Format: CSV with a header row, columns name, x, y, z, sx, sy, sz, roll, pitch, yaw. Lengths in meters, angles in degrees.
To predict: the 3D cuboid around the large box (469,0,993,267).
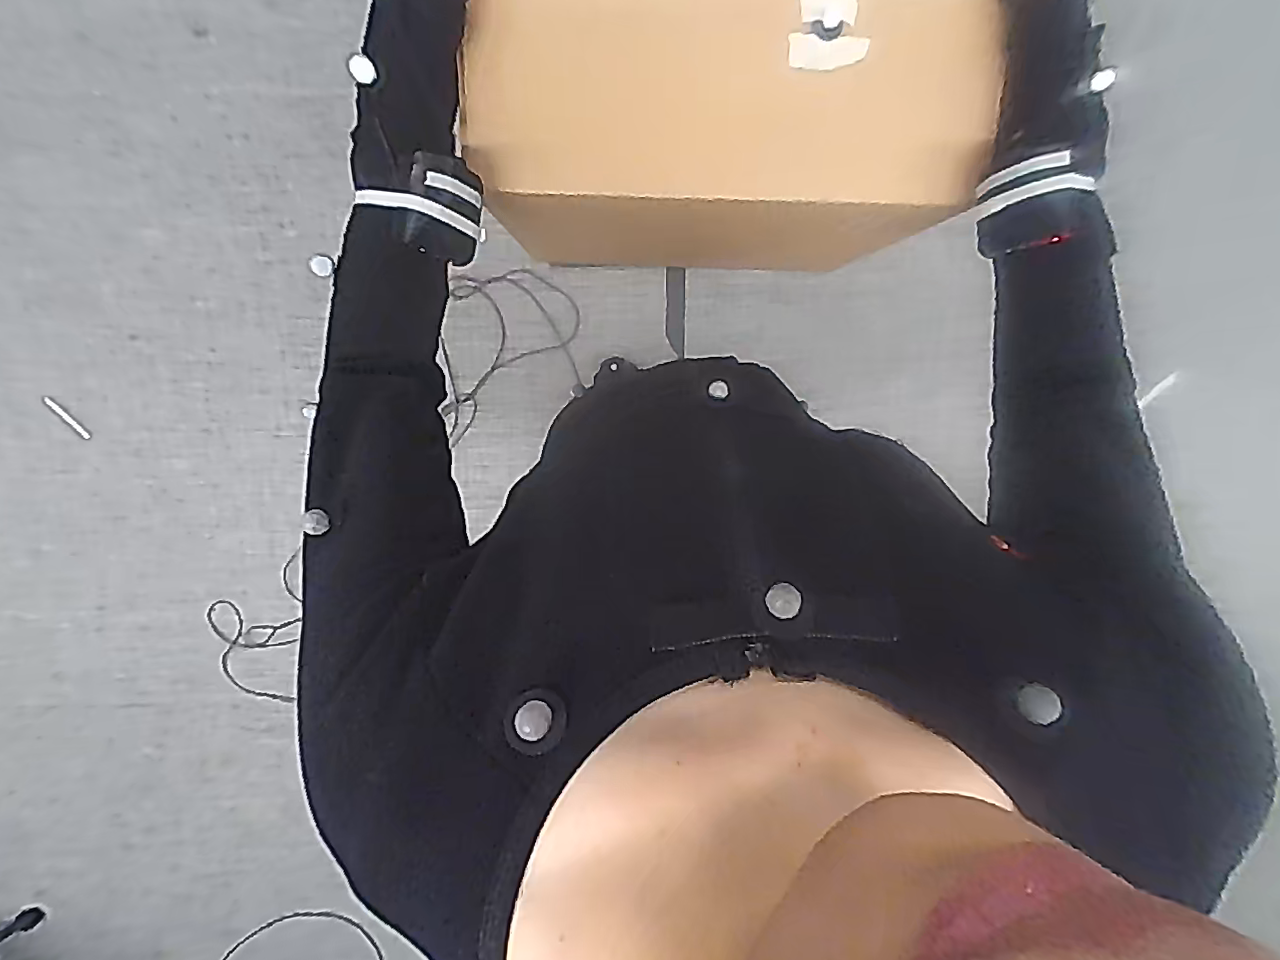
name,x,y,z,sx,sy,sz,roll,pitch,yaw
large box,0.064,-0.407,0.549,0.408,0.320,0.320,1,102,-2
